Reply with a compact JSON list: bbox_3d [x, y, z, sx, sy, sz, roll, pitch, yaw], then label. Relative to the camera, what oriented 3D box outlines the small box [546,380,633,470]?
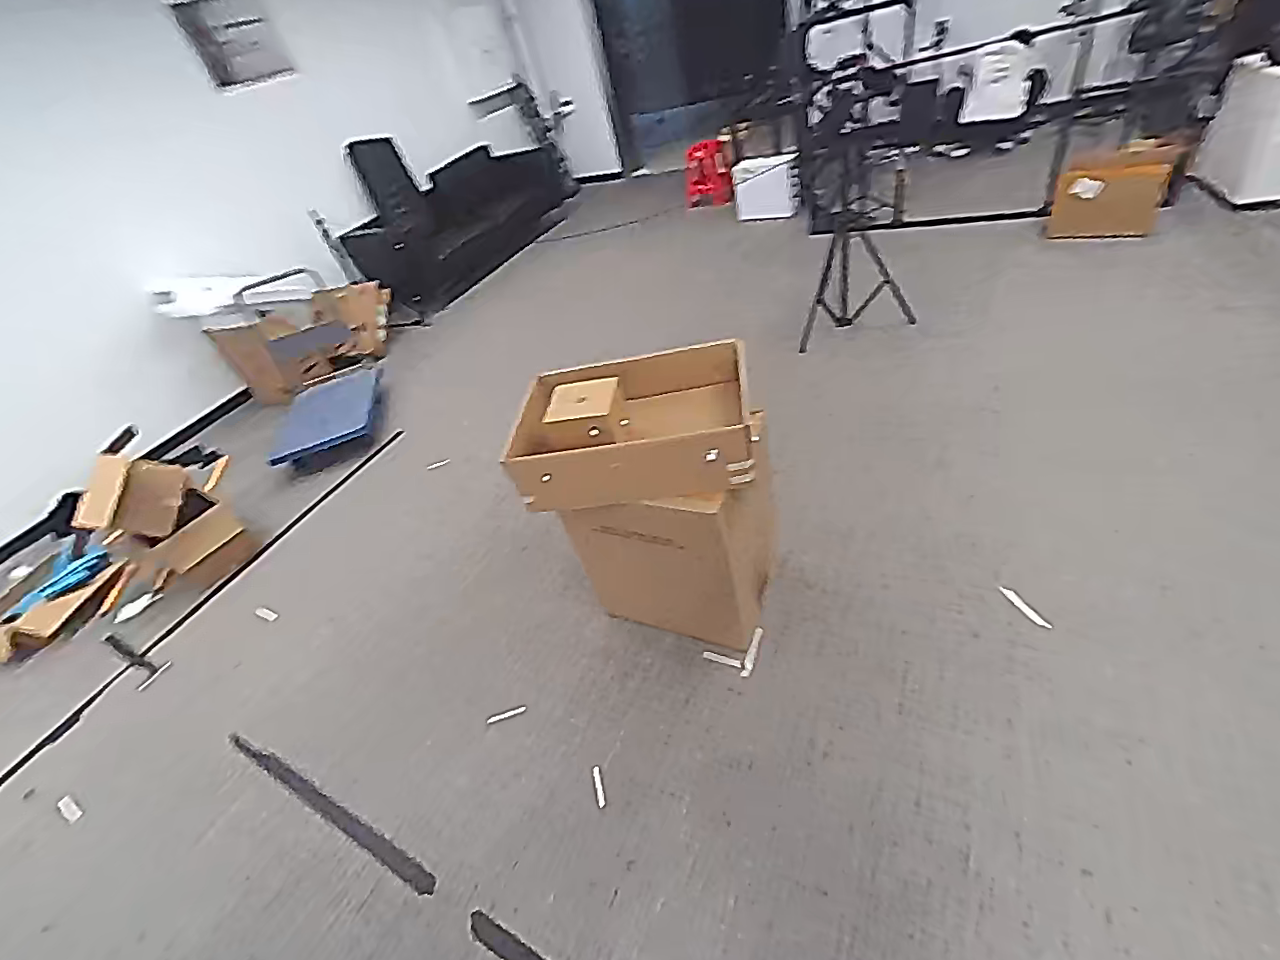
[{"bbox_3d":[-0.125,-0.145,1.451,0.179,0.176,0.168,-6,42,15],"label":"small box"}]
